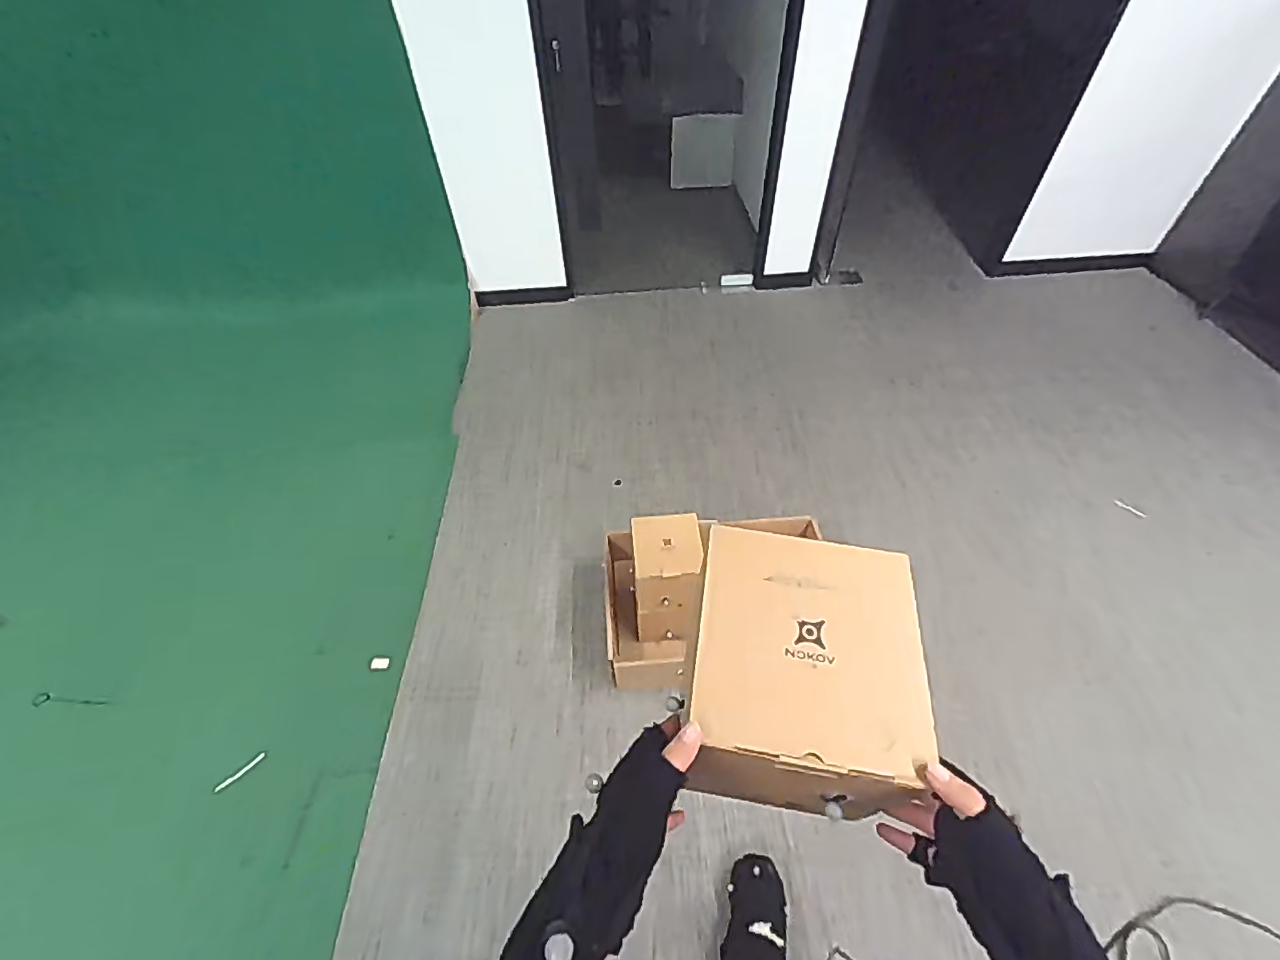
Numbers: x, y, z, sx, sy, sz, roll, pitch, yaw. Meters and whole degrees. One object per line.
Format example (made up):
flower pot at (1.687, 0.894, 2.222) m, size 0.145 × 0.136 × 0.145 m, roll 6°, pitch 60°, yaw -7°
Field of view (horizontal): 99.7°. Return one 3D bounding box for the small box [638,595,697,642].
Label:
small box at (0.078, 0.318, 1.463) m, size 0.168 × 0.176 × 0.179 m, roll -3°, pitch 48°, yaw -1°

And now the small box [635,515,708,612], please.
small box at (0.074, 0.208, 1.343) m, size 0.168 × 0.176 × 0.179 m, roll -4°, pitch 48°, yaw -2°

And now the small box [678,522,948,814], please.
small box at (0.127, 0.164, 0.459) m, size 0.168 × 0.176 × 0.179 m, roll 10°, pitch 52°, yaw 5°
